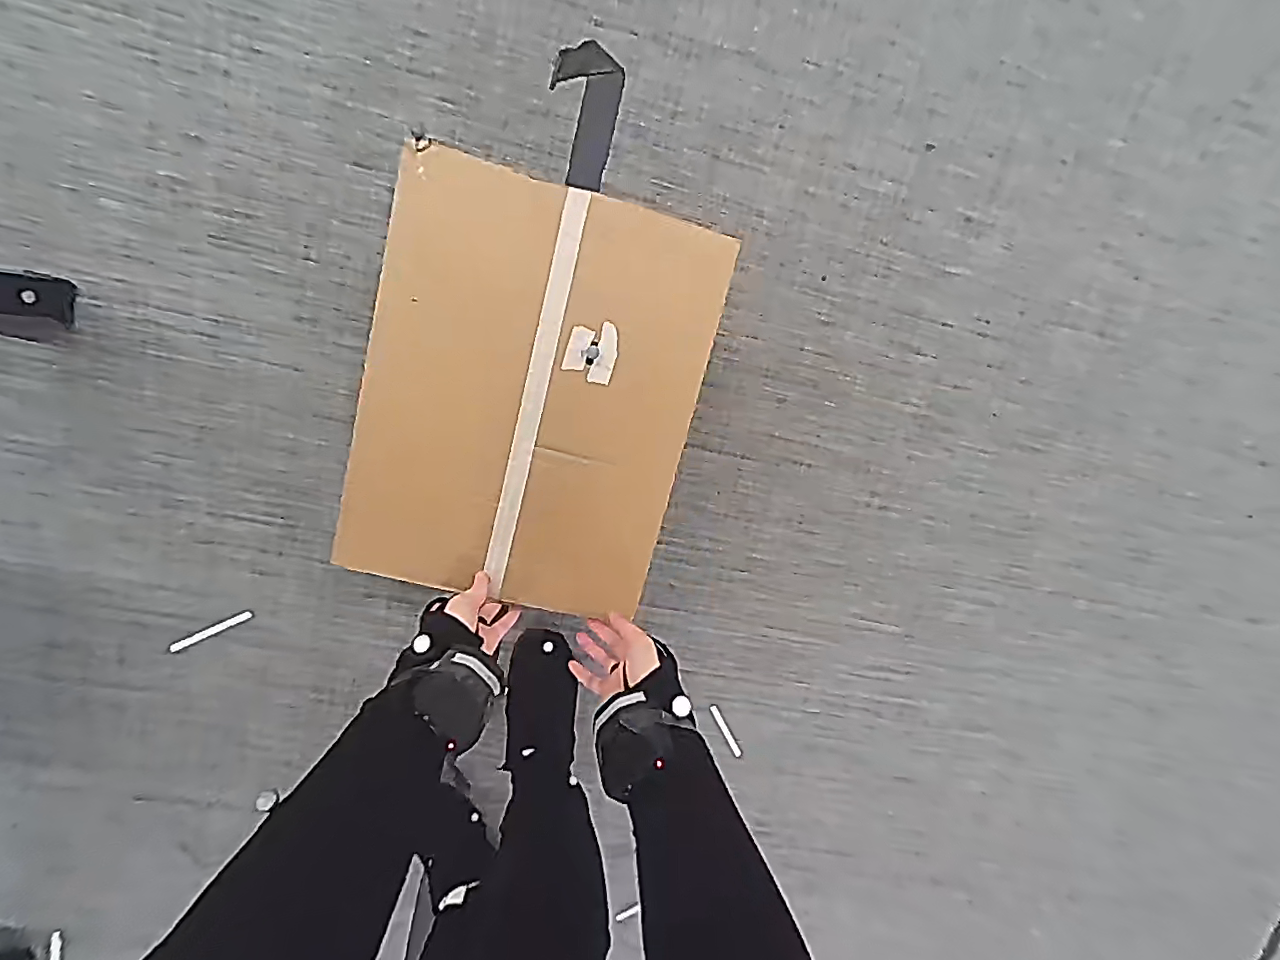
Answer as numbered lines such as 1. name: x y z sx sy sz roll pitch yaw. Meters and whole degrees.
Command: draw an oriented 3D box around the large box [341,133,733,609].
1. large box: -0.118 -0.110 0.671 0.320 0.320 0.408 14 100 -9
